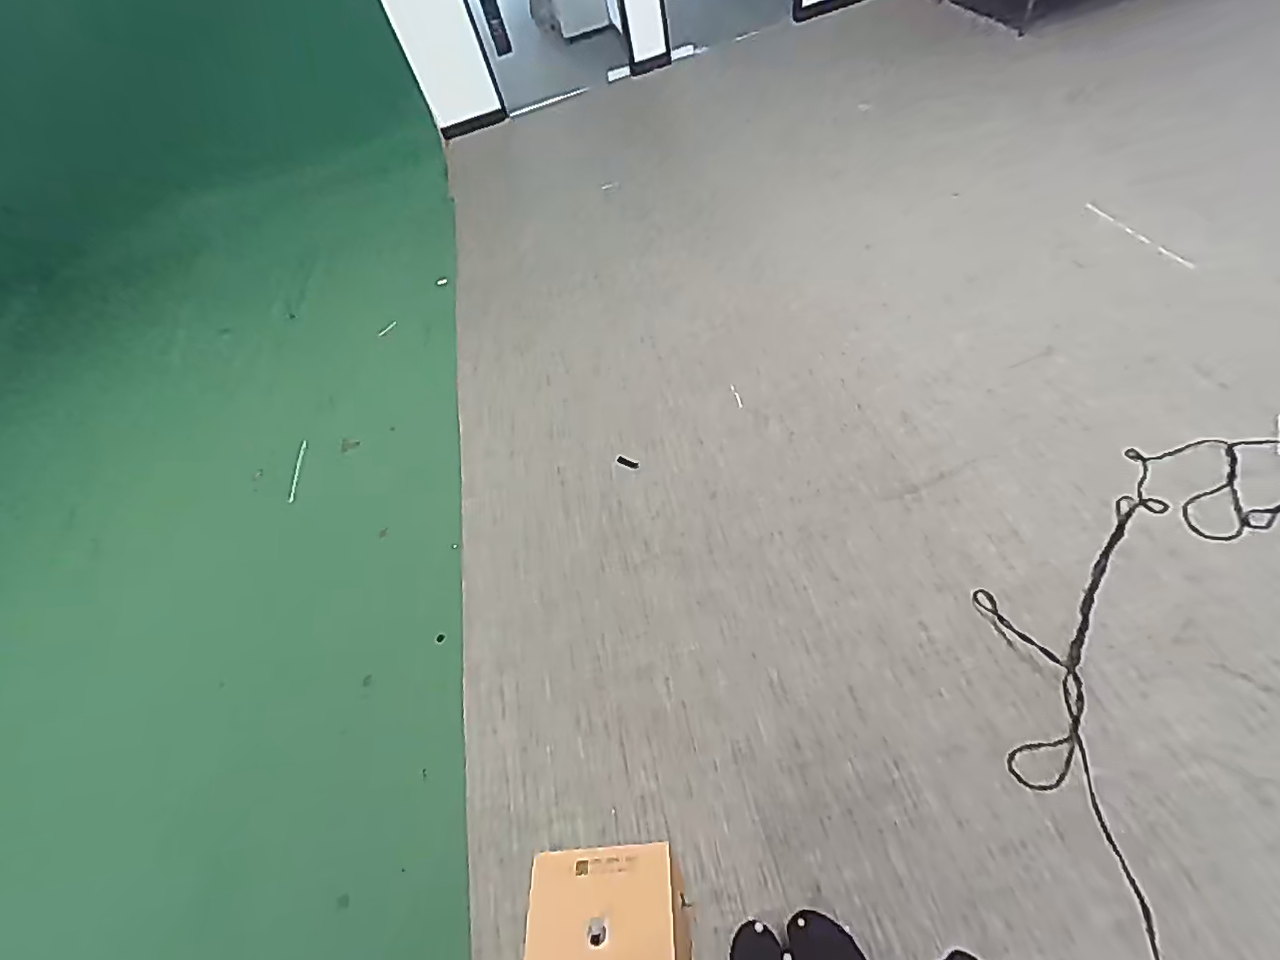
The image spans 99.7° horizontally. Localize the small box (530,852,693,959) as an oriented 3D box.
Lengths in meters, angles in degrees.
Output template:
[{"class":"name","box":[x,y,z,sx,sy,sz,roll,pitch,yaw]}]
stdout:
[{"class":"small box","box":[-0.028,0.554,0.631,0.168,0.179,0.176,-10,42,4]}]
